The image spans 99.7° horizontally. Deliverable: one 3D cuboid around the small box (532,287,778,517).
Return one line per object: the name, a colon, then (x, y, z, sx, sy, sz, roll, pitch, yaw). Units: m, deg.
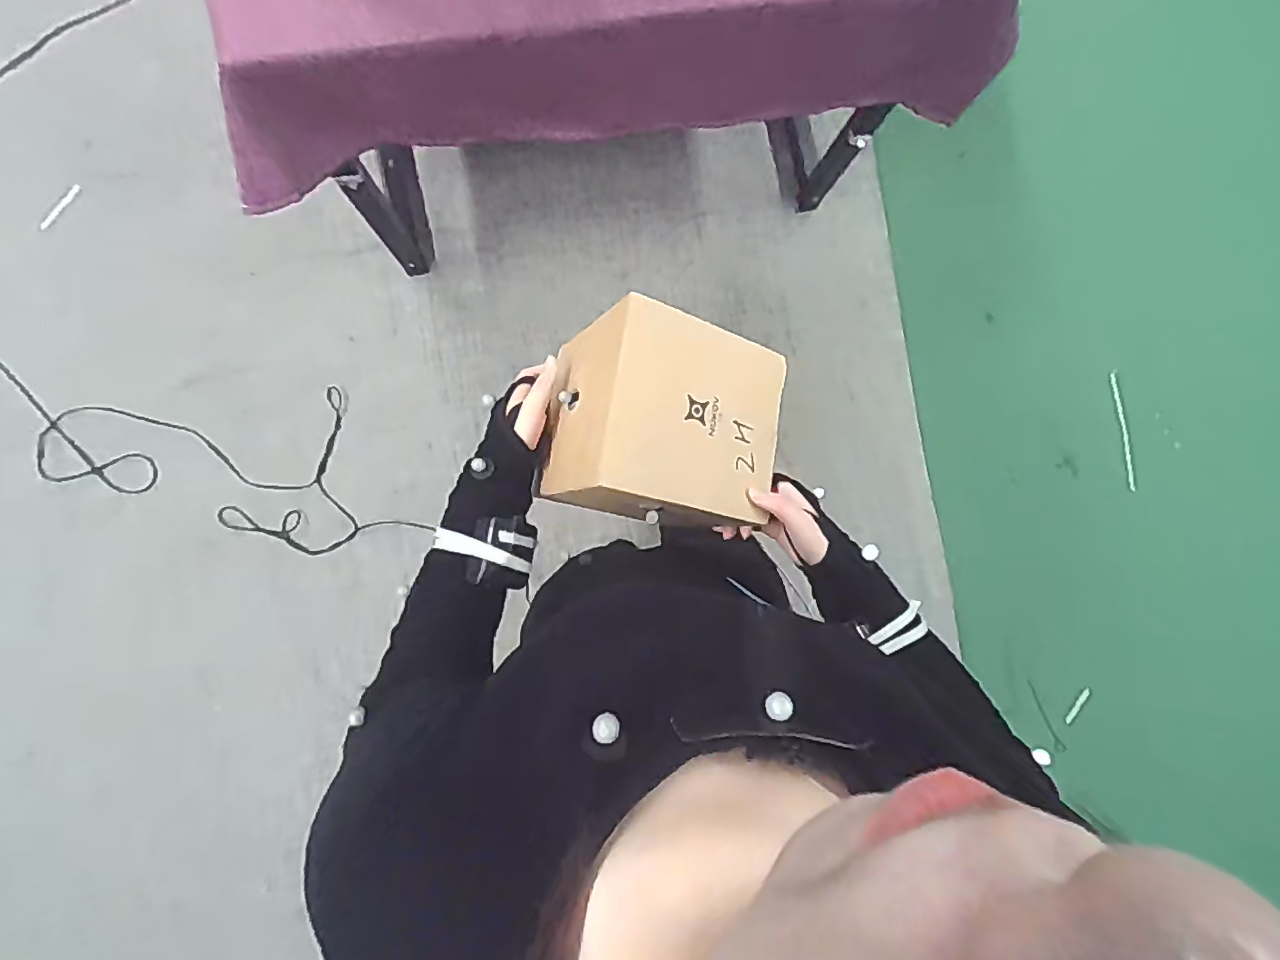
small box: (0.008, -0.057, 0.538, 0.179, 0.176, 0.168, 15, 79, -28)
